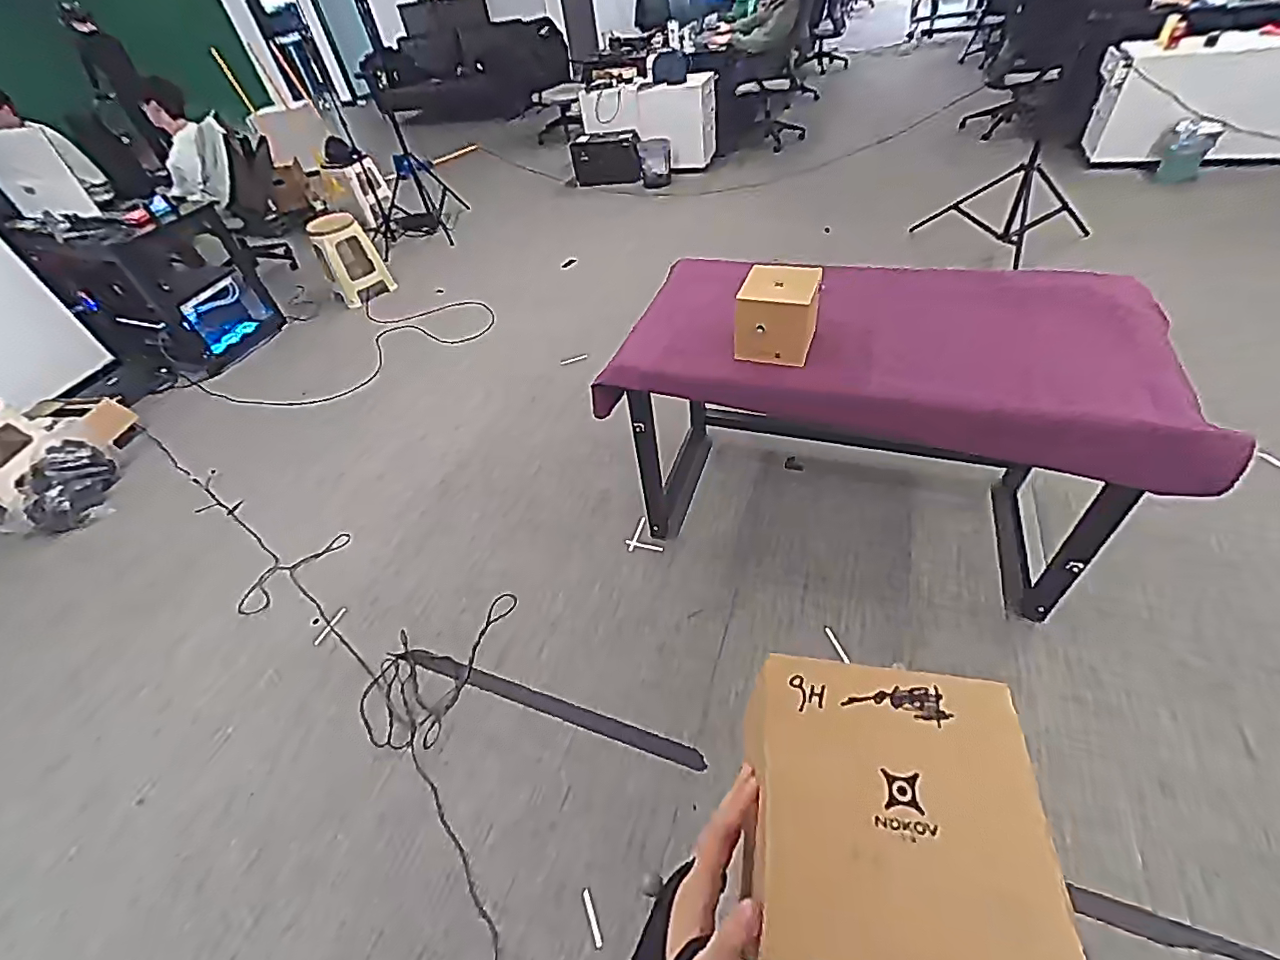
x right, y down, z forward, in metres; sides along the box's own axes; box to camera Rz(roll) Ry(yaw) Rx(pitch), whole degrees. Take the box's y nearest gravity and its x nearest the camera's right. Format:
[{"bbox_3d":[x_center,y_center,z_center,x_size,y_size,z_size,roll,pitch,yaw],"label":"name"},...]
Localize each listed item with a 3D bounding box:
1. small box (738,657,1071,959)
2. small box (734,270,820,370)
[{"bbox_3d":[0.164,0.254,0.397,0.168,0.176,0.179,5,51,8],"label":"small box"},{"bbox_3d":[0.331,-0.387,1.310,0.168,0.176,0.179,12,48,19],"label":"small box"}]
